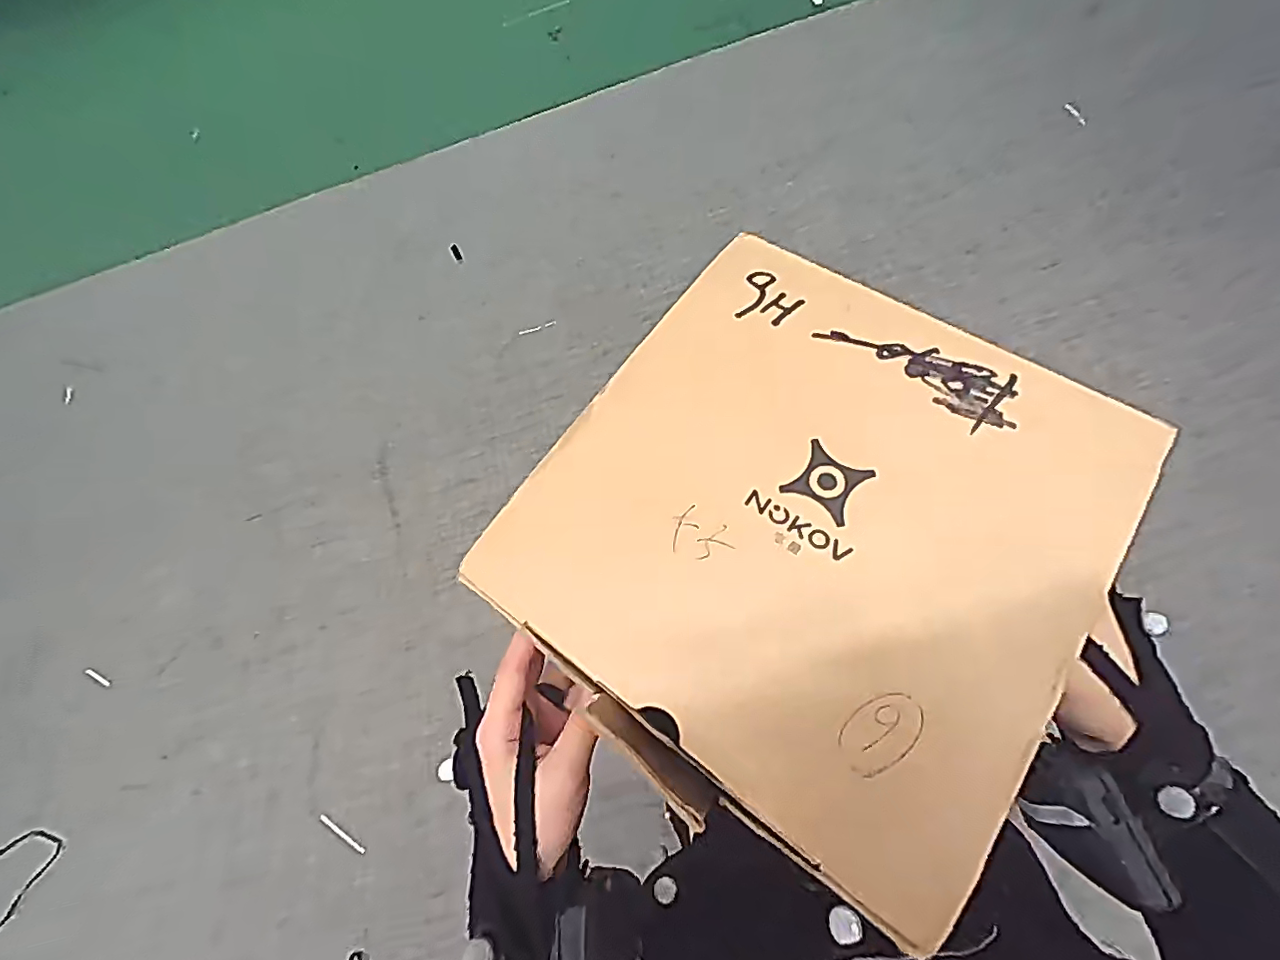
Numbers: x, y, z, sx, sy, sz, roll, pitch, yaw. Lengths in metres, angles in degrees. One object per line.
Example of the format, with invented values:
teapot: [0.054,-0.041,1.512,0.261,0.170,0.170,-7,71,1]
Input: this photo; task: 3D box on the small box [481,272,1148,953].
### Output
small box: [0.065,0.049,0.259,0.168,0.176,0.179,33,74,17]
